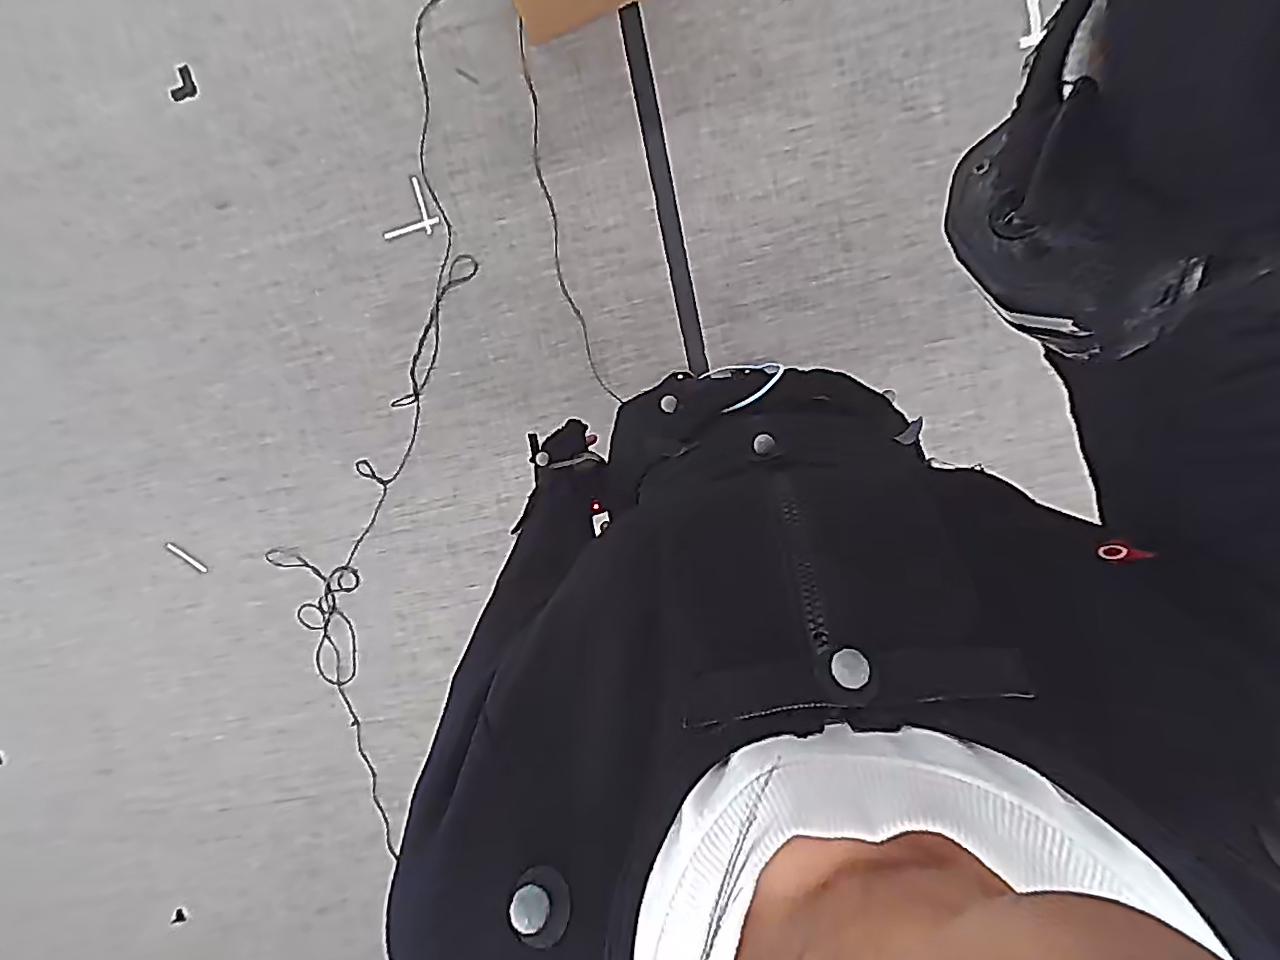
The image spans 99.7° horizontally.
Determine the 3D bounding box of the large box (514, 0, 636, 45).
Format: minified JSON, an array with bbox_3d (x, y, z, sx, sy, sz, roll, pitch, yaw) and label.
[{"bbox_3d":[-0.125,-1.196,1.084,0.408,0.320,0.320,-18,100,7],"label":"large box"}]
